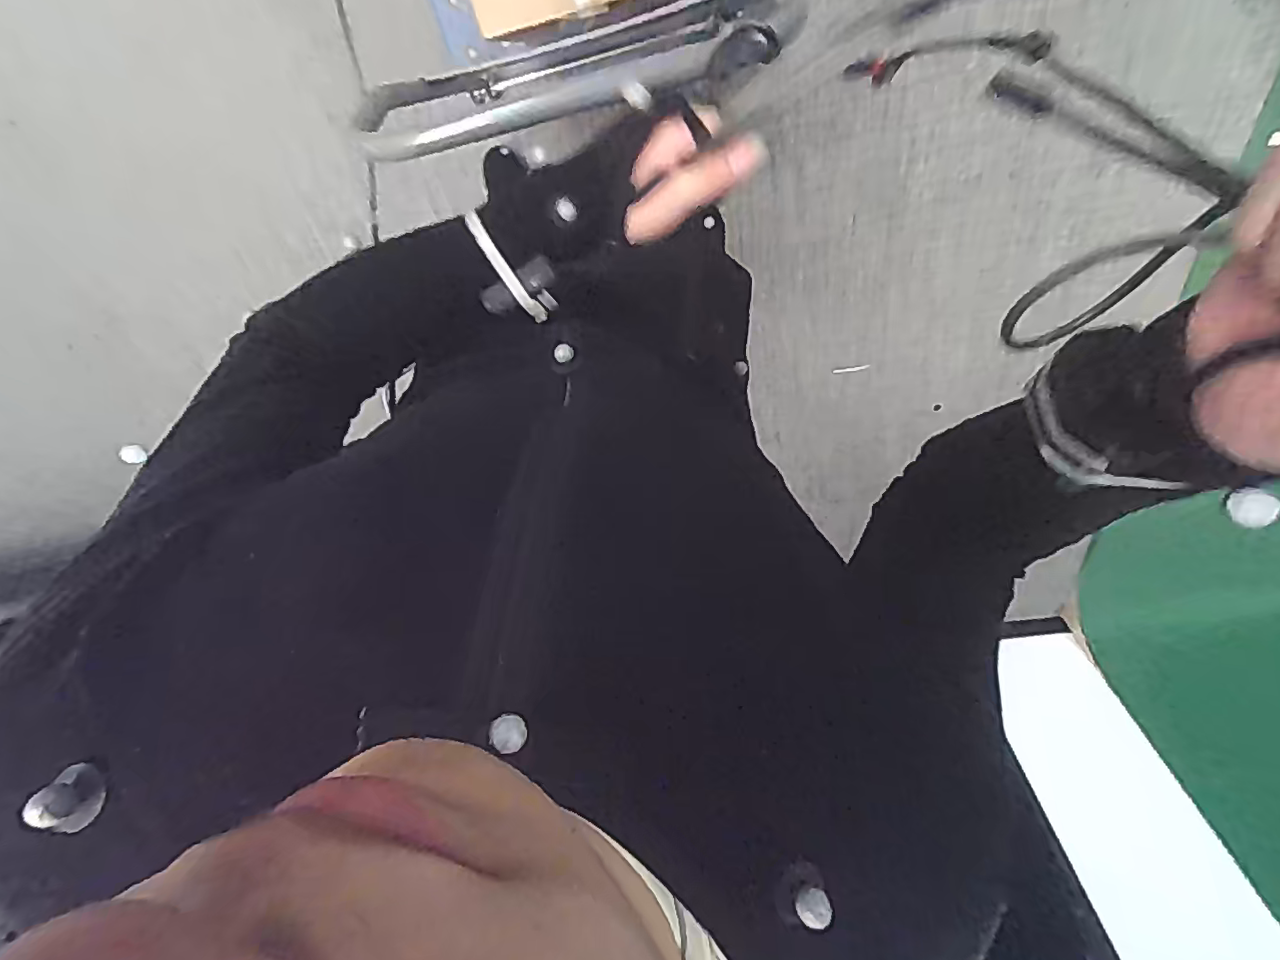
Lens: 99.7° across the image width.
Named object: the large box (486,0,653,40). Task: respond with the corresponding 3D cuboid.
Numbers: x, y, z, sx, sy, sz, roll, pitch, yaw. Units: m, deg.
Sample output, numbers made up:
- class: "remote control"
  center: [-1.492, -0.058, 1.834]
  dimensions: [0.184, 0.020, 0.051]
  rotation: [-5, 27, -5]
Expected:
- class: "large box"
  center: [-0.100, -0.913, 0.758]
  dimensions: [0.320, 0.320, 0.408]
  rotation: [-10, 128, 9]
